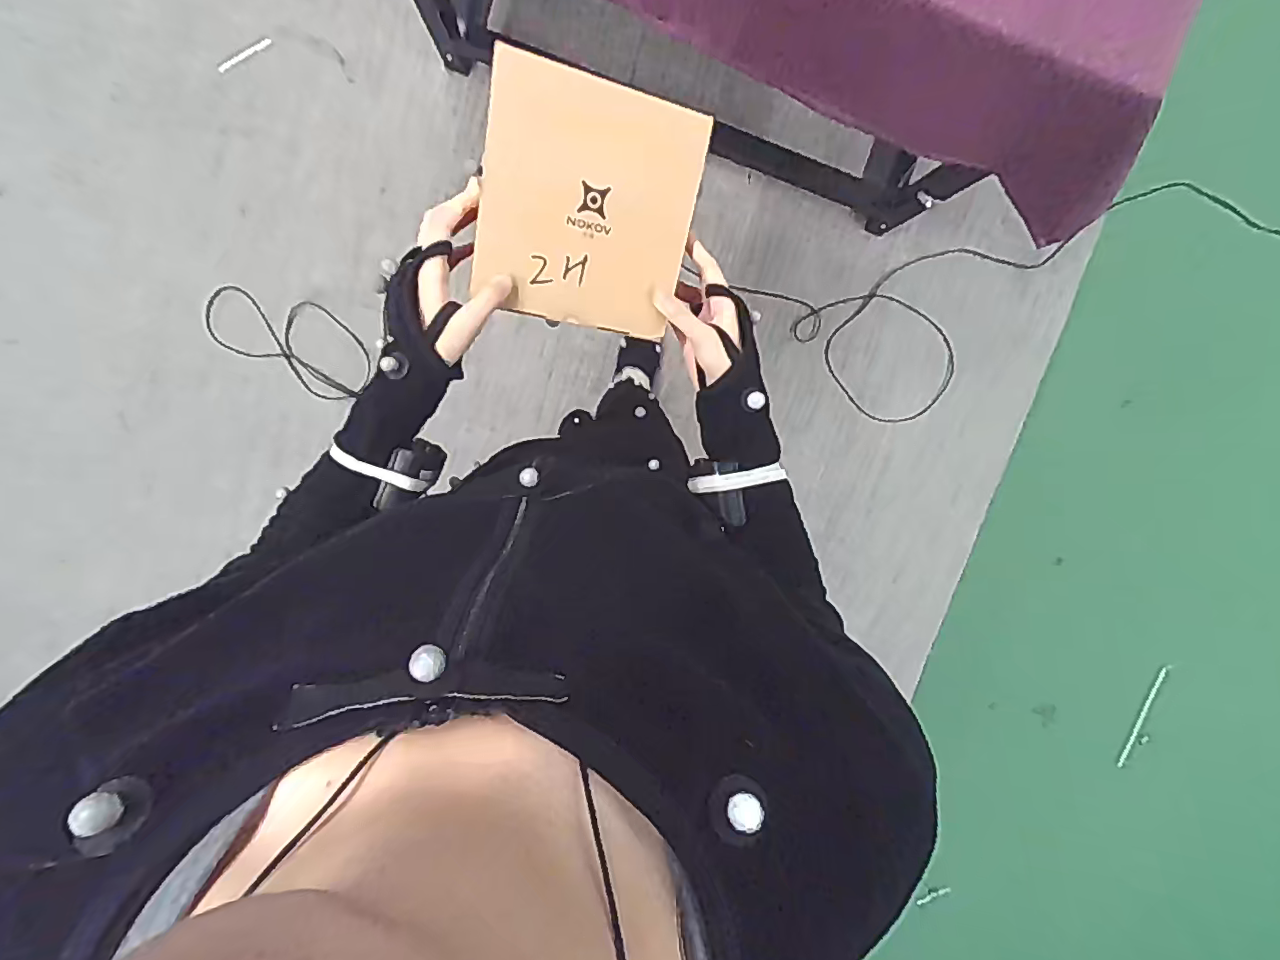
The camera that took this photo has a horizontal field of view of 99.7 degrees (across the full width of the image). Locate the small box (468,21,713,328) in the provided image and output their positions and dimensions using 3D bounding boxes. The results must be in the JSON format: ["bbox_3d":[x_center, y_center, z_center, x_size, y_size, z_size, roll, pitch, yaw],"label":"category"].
[{"bbox_3d":[-0.058,-0.251,0.488,0.168,0.176,0.179,8,110,-18],"label":"small box"}]
